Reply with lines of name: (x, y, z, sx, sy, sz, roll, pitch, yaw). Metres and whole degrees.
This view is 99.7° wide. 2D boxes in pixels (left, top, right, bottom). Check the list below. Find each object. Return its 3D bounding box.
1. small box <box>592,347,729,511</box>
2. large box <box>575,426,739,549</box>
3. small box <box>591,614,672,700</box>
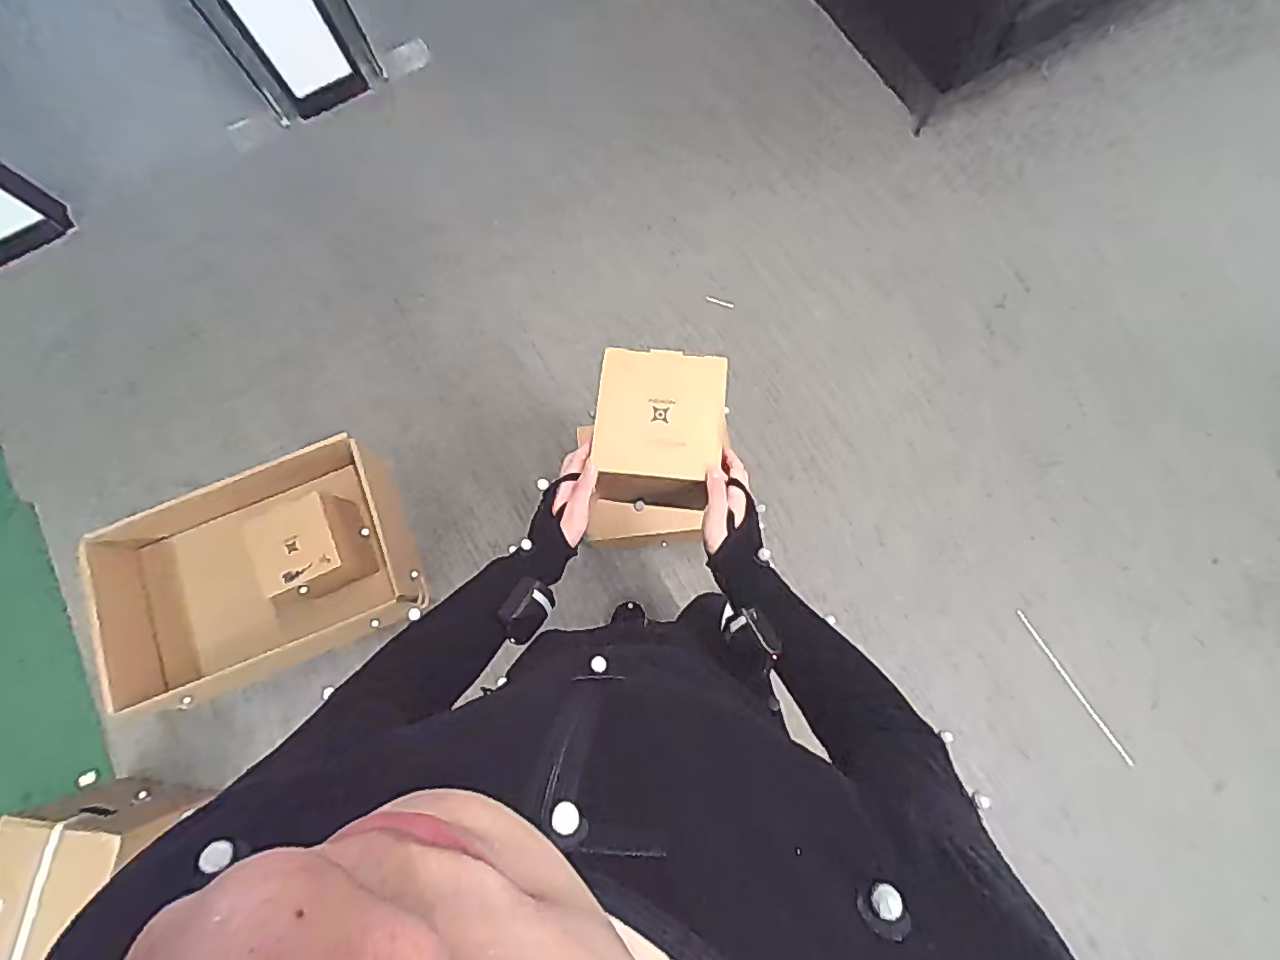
small box: (0.028, -0.065, 0.771, 0.168, 0.176, 0.179, 6, 75, 1)
large box: (0.047, 0.016, 1.557, 0.408, 0.320, 0.320, -7, 77, 1)
small box: (-0.024, 0.502, 1.539, 0.179, 0.176, 0.168, 36, 78, 17)
